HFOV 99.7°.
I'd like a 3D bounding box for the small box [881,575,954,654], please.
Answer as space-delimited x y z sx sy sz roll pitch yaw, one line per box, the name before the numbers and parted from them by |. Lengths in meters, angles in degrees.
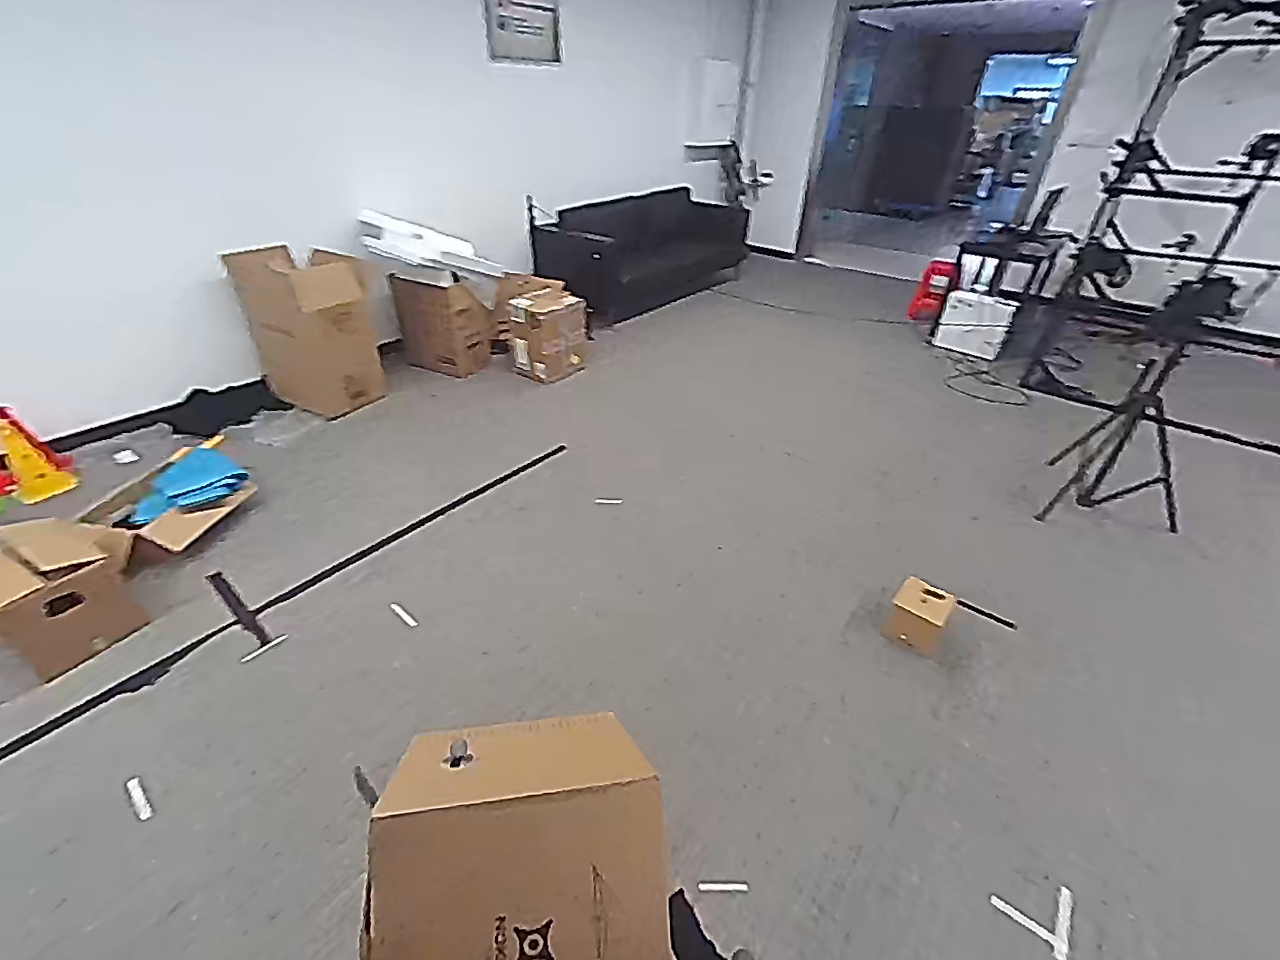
small box | 0.988 0.481 1.934 0.168 0.176 0.179 27 43 33
